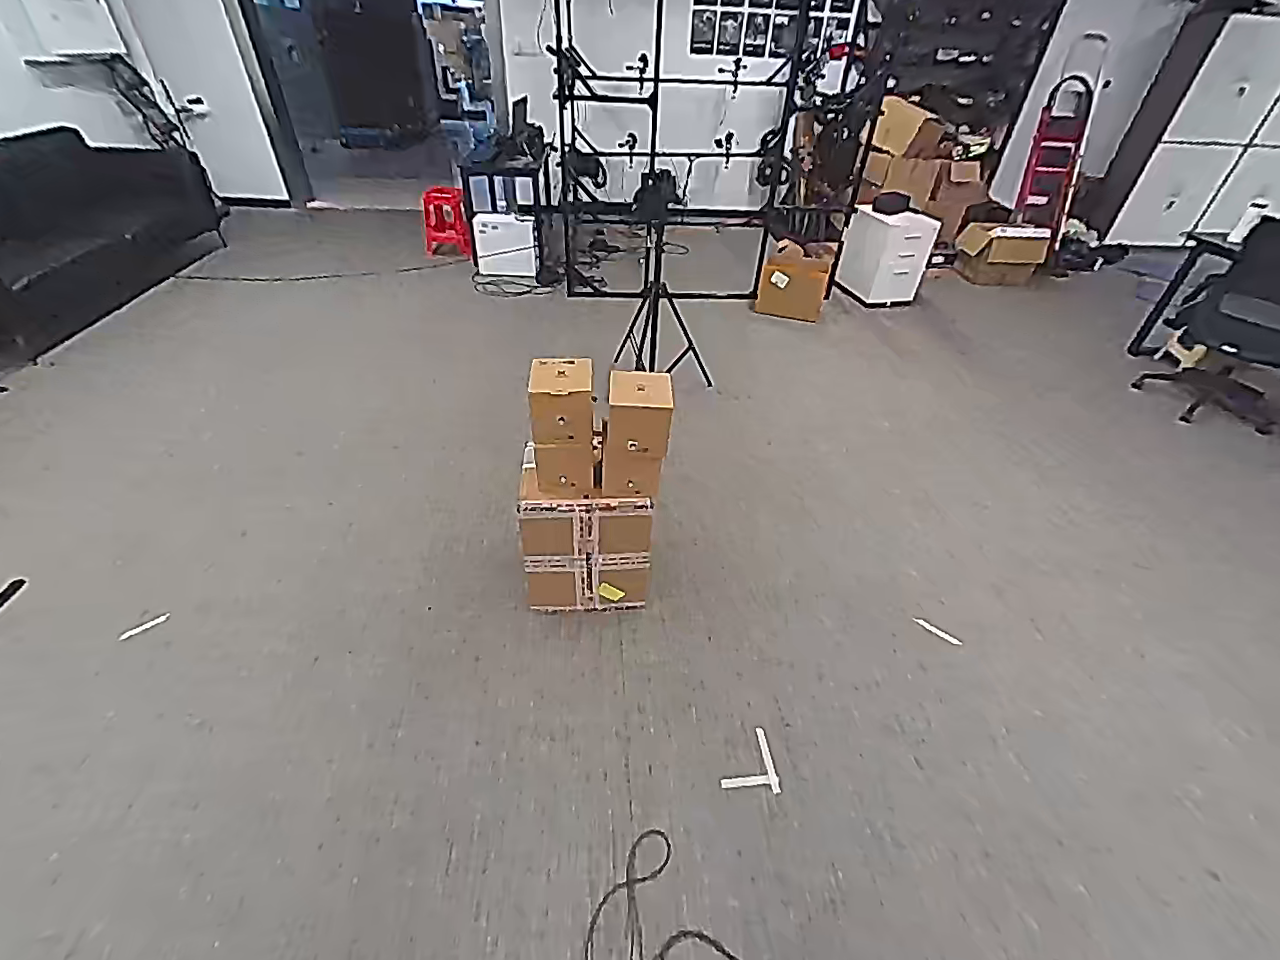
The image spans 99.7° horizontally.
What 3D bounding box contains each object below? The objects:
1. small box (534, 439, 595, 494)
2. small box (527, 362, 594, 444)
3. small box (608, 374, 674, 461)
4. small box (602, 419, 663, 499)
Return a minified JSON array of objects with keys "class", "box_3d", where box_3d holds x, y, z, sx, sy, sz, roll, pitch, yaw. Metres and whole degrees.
[{"class":"small box","box_3d":[-0.221,-0.079,1.604,0.168,0.176,0.179,-3,43,-5]},{"class":"small box","box_3d":[-0.214,-0.211,1.505,0.168,0.176,0.179,-2,42,-3]},{"class":"small box","box_3d":[-0.003,-0.171,1.476,0.168,0.176,0.179,1,42,-4]},{"class":"small box","box_3d":[-0.028,-0.062,1.598,0.168,0.176,0.179,0,41,-5]}]
